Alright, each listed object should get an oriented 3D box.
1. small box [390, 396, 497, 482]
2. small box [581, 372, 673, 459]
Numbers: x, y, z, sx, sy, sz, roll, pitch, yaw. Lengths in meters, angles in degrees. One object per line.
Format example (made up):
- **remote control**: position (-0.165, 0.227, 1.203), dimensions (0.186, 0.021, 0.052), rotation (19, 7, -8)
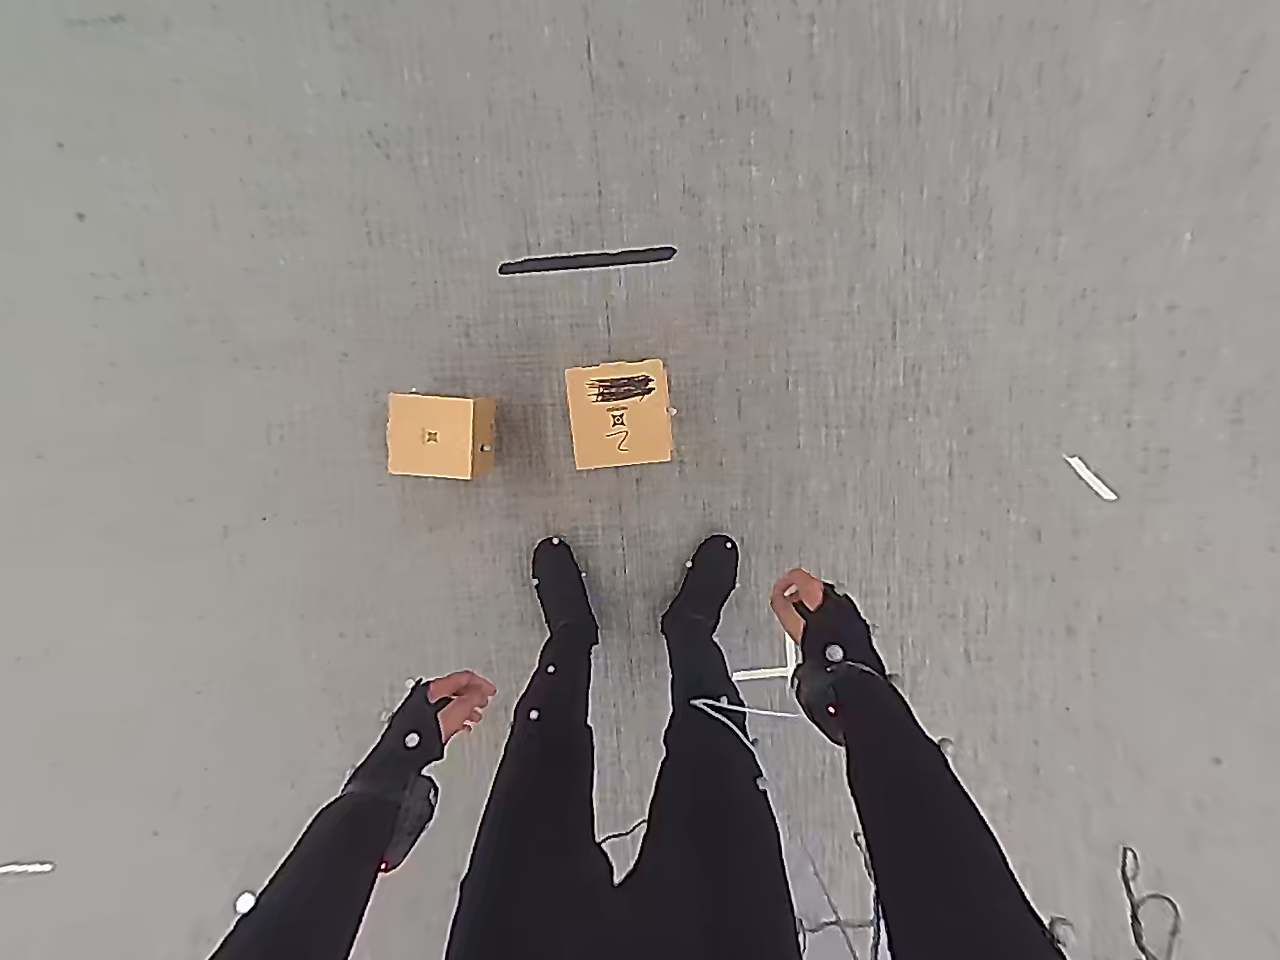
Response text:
- **small box**: position (-0.418, -0.094, 1.172), dimensions (0.179, 0.176, 0.168), rotation (5, 98, 2)
- **small box**: position (-0.024, -0.137, 1.156), dimensions (0.179, 0.176, 0.168), rotation (-4, 98, 1)
